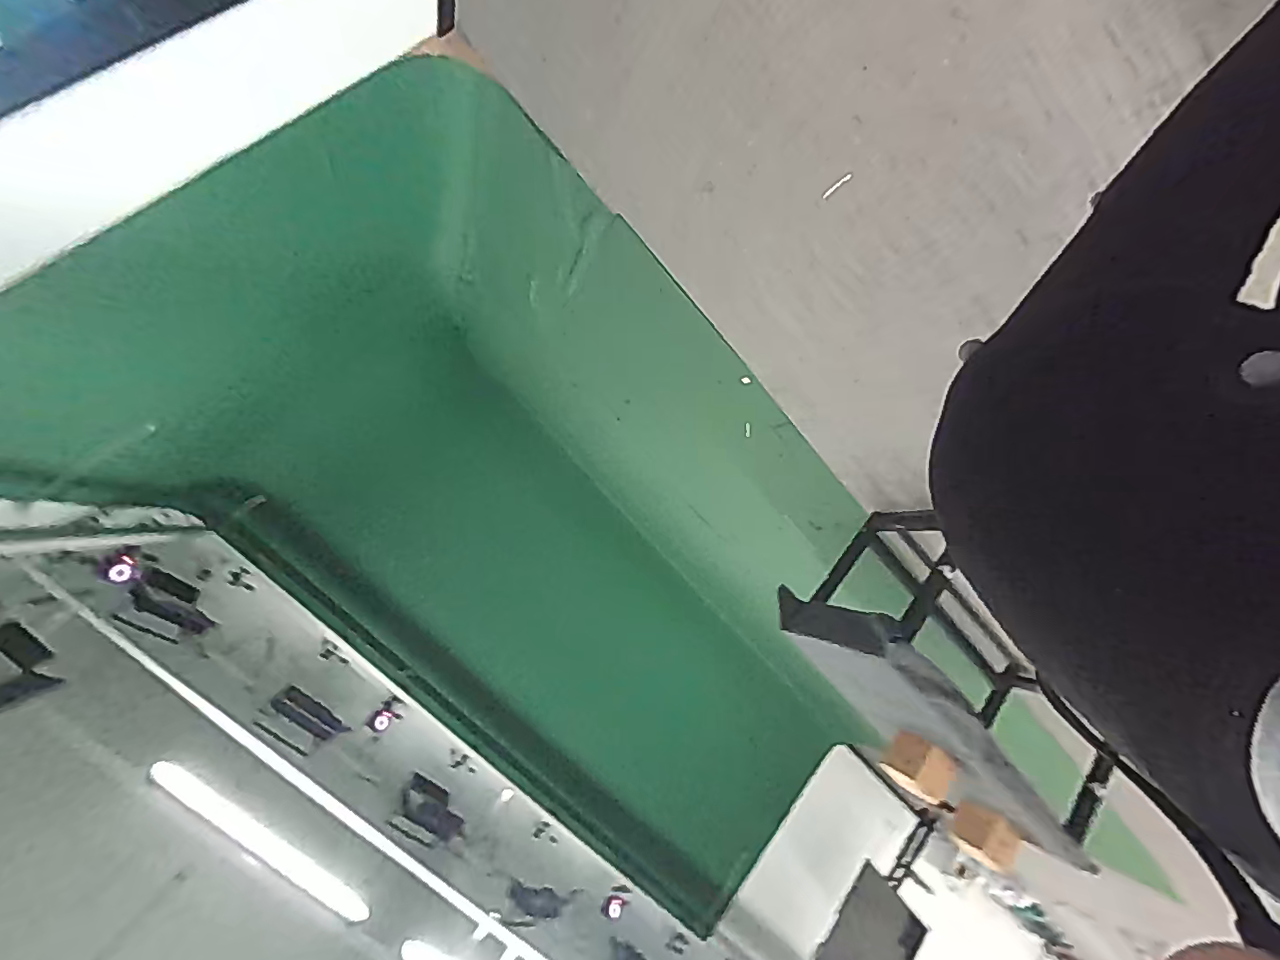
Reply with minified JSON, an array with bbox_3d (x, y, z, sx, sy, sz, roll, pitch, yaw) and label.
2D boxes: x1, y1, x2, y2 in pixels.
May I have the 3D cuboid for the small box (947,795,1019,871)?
[{"bbox_3d":[1.434,1.460,2.250,0.168,0.176,0.179,48,161,-10],"label":"small box"}]

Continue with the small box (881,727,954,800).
[{"bbox_3d":[1.114,1.122,2.157,0.168,0.176,0.179,47,163,-12],"label":"small box"}]
